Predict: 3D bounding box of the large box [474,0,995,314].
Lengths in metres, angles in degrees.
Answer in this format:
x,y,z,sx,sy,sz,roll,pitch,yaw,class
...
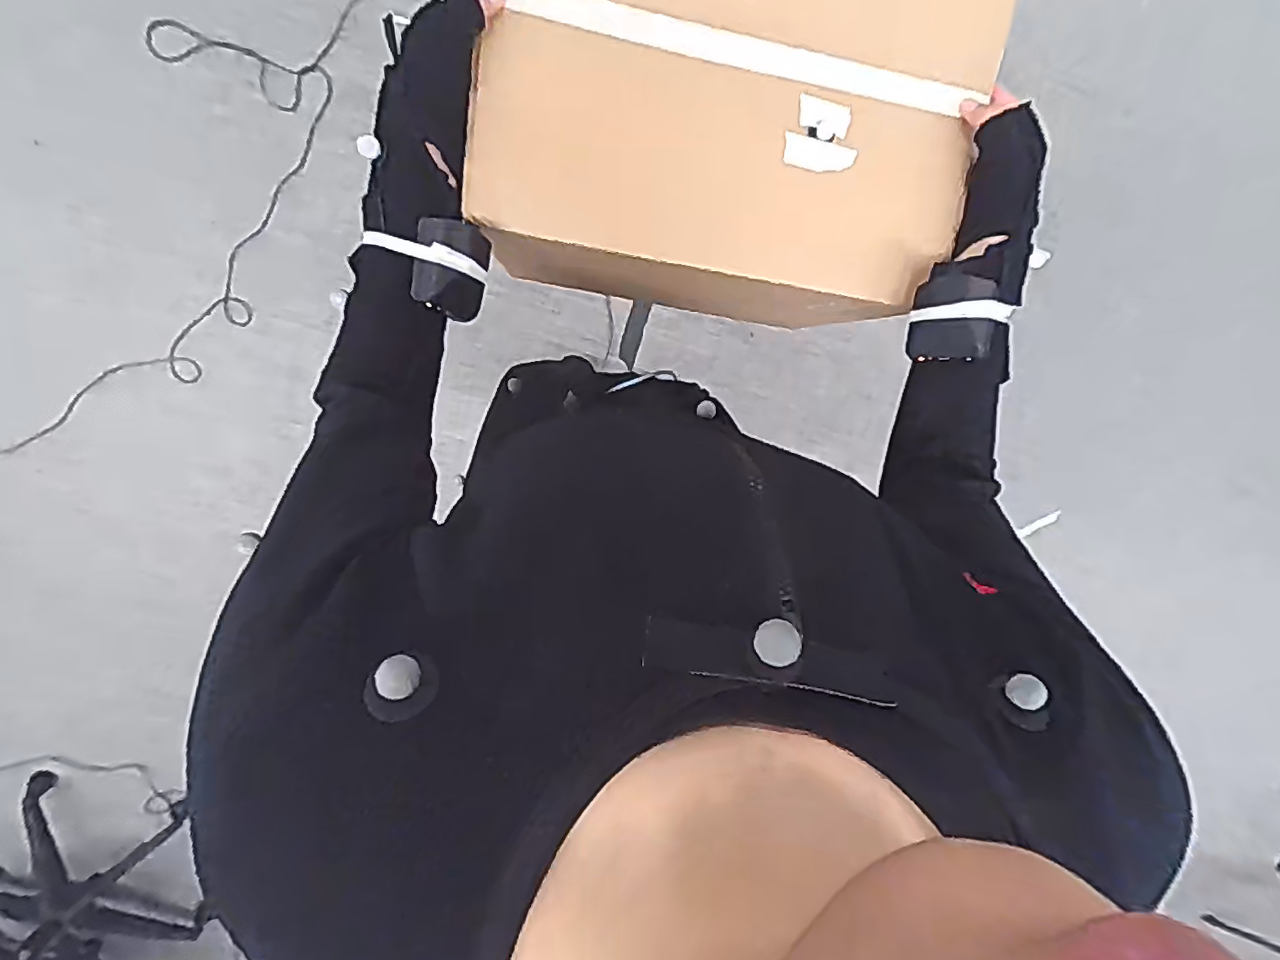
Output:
x,y,z,sx,sy,sz,roll,pitch,yaw,class
0.060,-0.368,0.566,0.408,0.320,0.320,6,103,-9,large box
